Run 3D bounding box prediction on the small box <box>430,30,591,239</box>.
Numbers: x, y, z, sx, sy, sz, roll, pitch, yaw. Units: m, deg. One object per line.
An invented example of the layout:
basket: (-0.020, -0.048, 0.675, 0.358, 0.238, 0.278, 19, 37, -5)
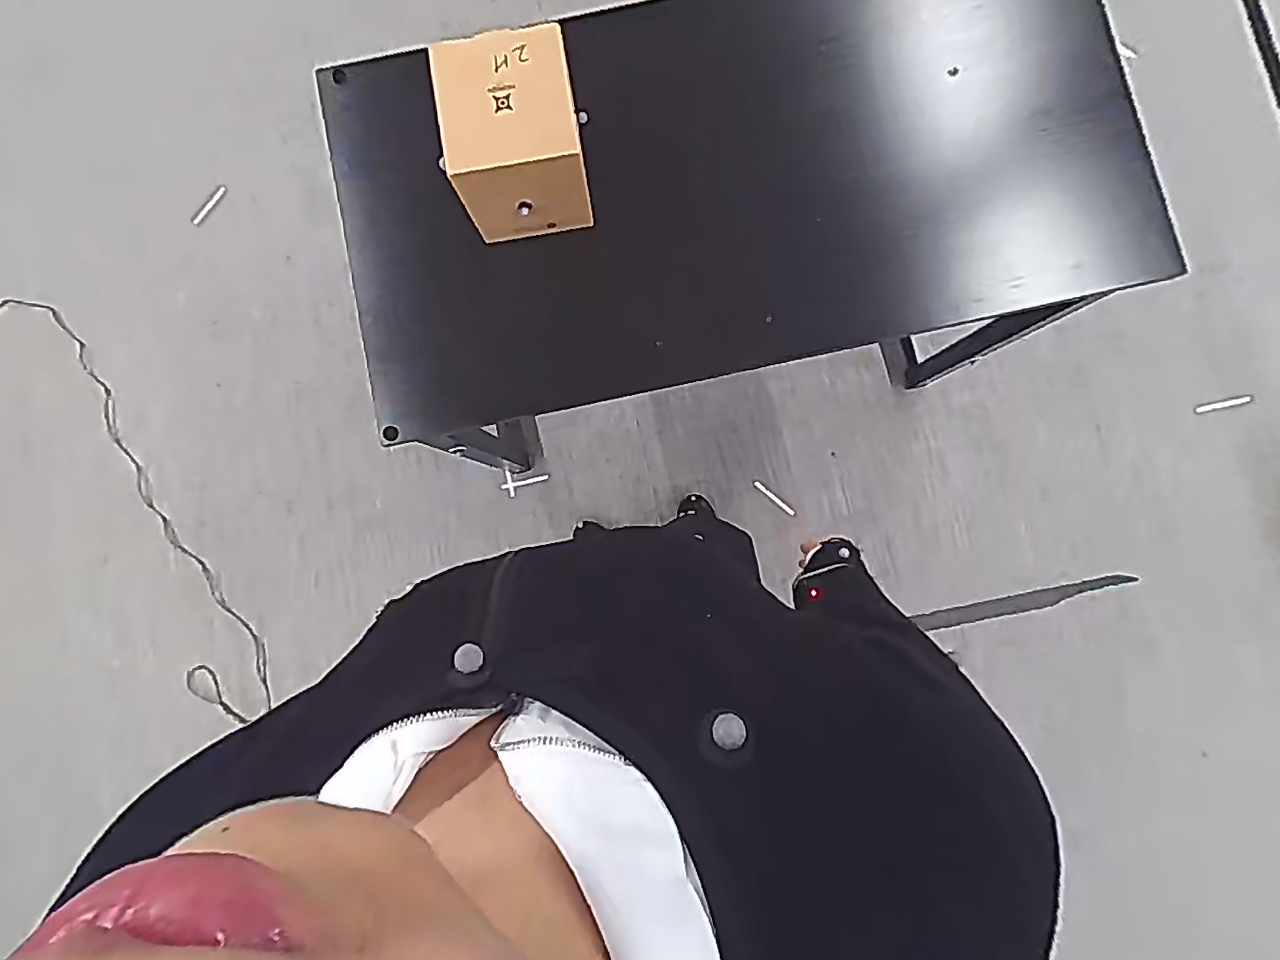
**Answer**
small box: (-0.167, -0.456, 0.746, 0.168, 0.176, 0.179, -10, 85, 0)
